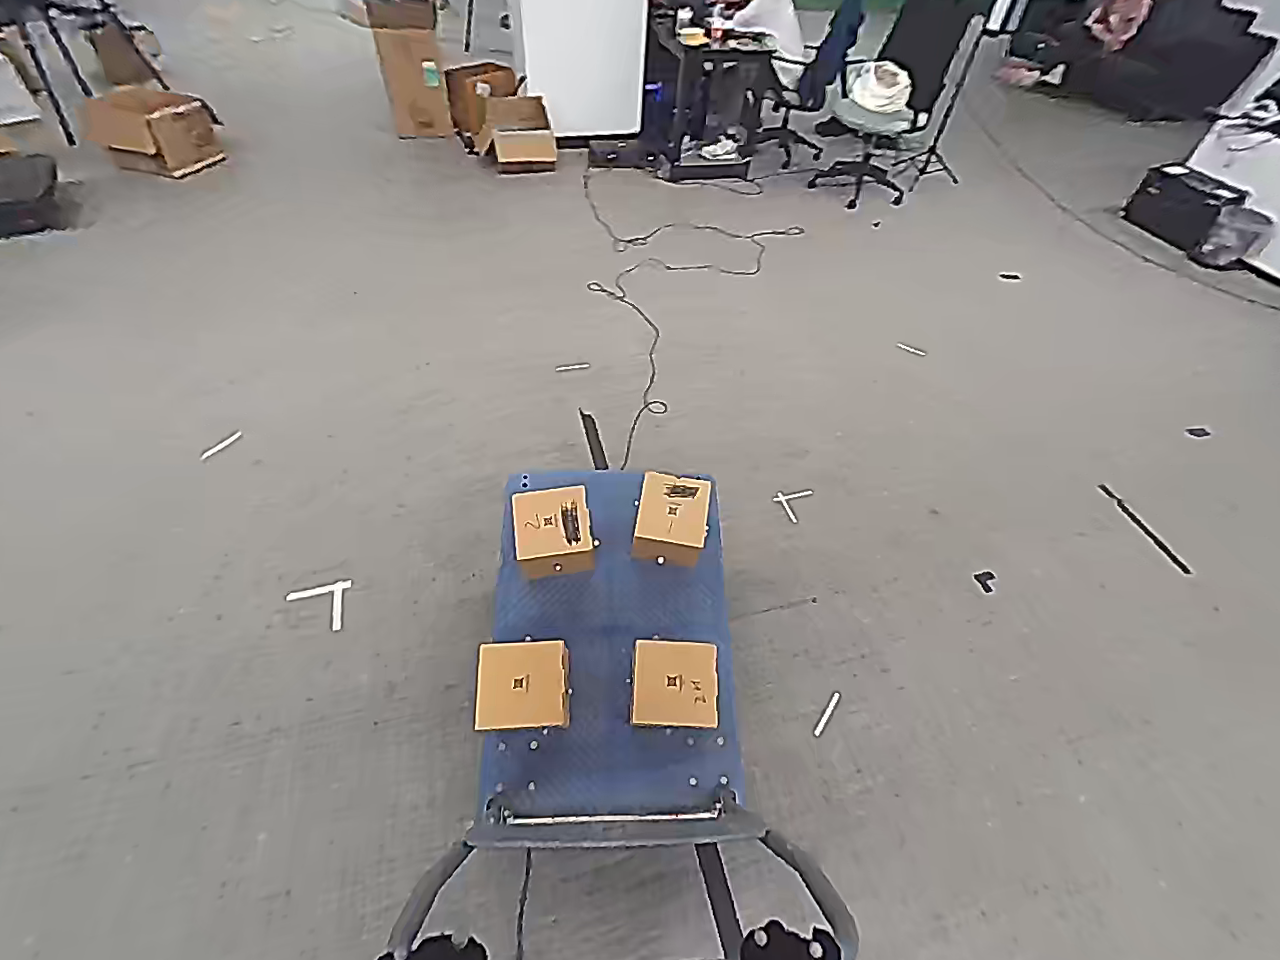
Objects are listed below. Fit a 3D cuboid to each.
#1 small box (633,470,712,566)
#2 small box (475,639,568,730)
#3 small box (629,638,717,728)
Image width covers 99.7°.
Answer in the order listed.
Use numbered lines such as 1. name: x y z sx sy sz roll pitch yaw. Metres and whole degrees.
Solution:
1. small box: 0.076 0.099 1.359 0.168 0.176 0.179 10 65 1
2. small box: -0.248 0.446 1.171 0.179 0.176 0.168 -1 64 -6
3. small box: 0.069 0.451 1.190 0.179 0.176 0.168 4 65 -2
